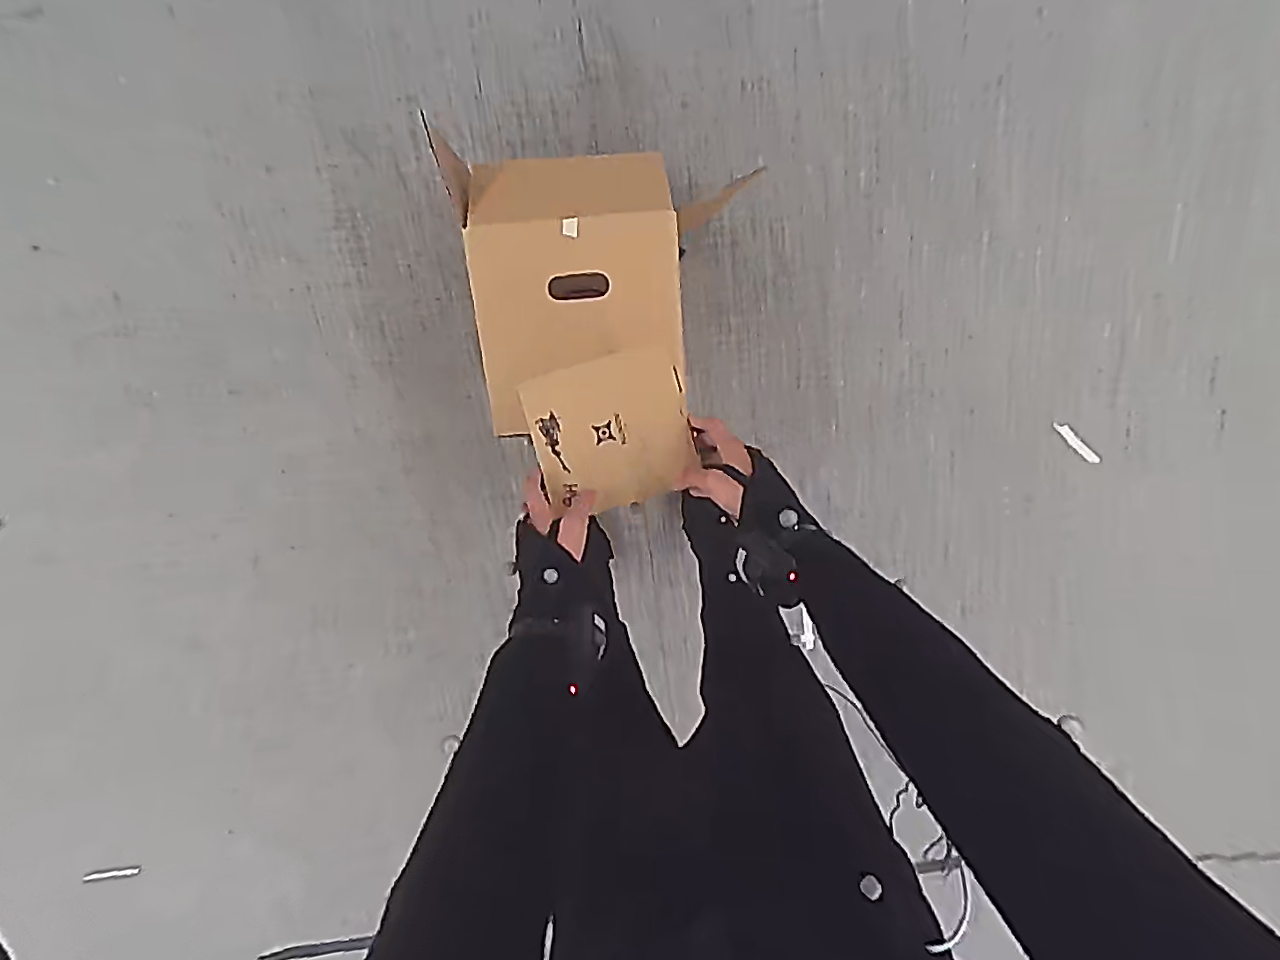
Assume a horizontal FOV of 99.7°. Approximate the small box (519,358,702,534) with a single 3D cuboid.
[{"bbox_3d":[-0.035,-0.040,0.683,0.179,0.176,0.168,-15,91,0],"label":"small box"}]
